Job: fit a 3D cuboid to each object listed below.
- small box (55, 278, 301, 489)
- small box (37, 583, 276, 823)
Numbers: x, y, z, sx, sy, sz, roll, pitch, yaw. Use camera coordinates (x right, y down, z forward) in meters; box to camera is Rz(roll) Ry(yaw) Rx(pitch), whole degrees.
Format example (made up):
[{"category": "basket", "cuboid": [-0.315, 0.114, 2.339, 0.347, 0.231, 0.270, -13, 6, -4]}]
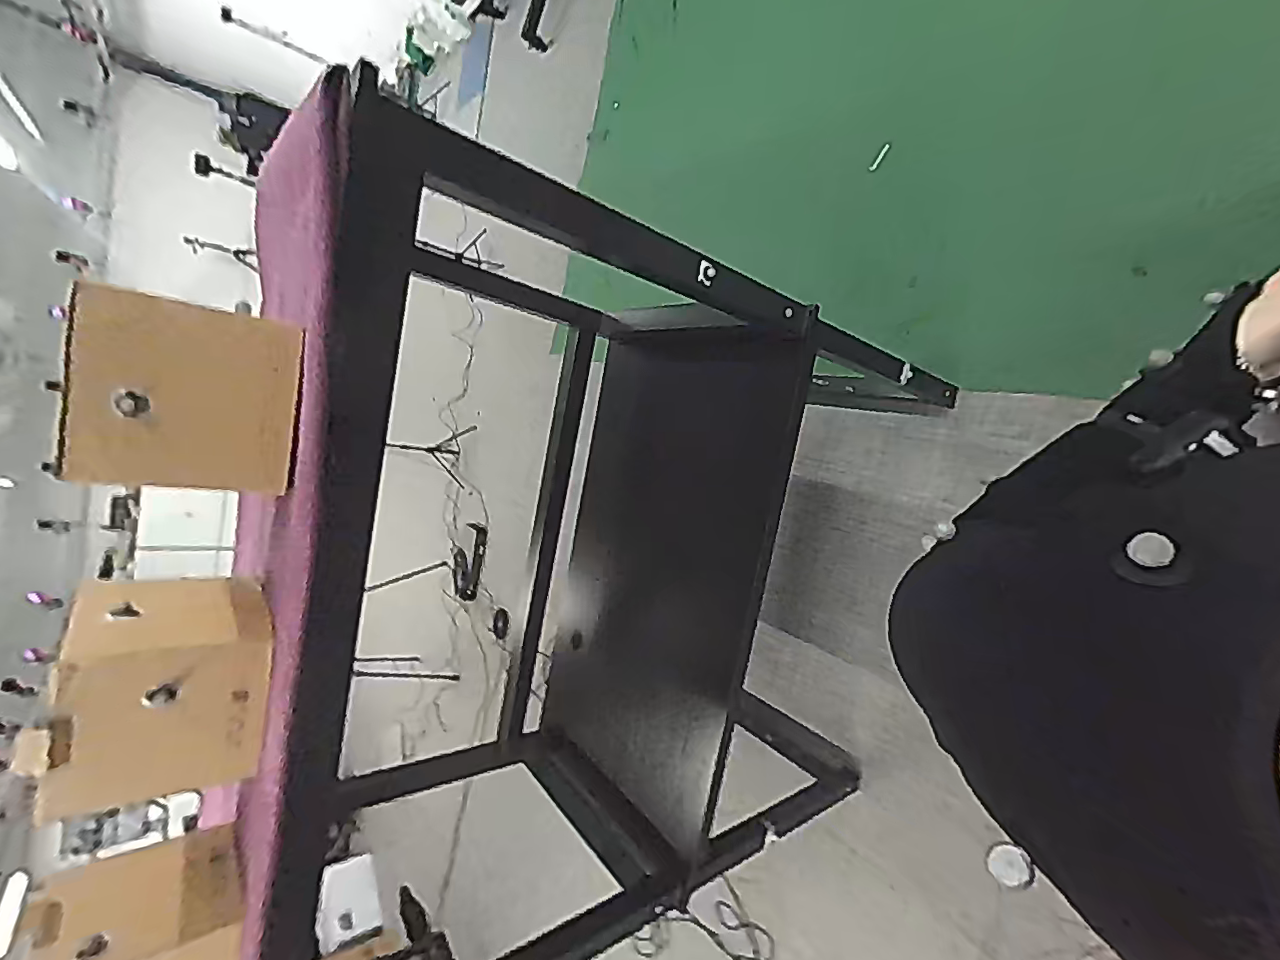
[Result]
[{"category": "small box", "cuboid": [-0.461, -0.091, 0.561, 0.168, 0.176, 0.179, 17, 99, 51]}, {"category": "small box", "cuboid": [-0.509, 0.216, 0.587, 0.179, 0.176, 0.168, 22, 102, 49]}]
